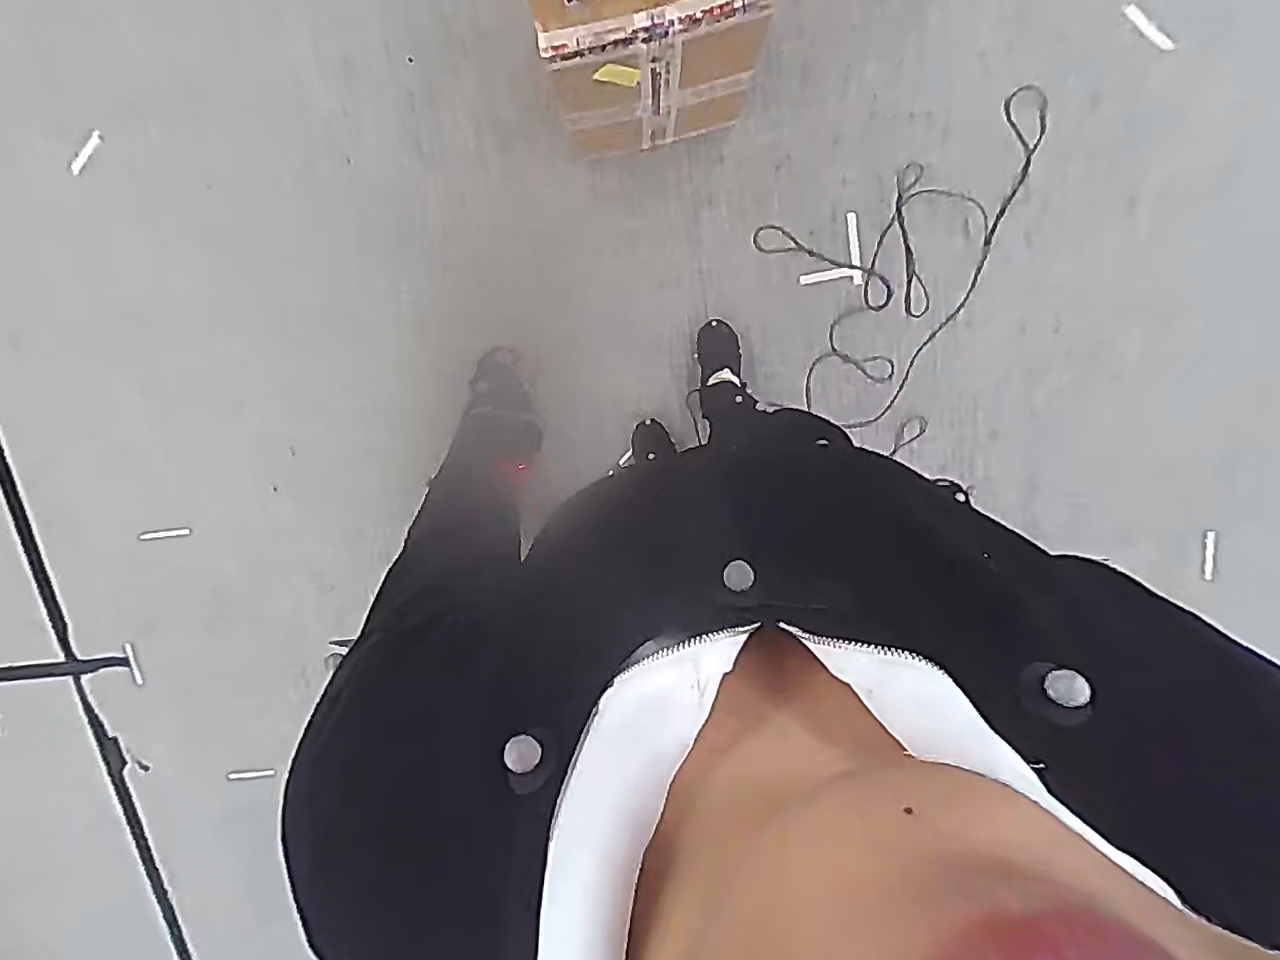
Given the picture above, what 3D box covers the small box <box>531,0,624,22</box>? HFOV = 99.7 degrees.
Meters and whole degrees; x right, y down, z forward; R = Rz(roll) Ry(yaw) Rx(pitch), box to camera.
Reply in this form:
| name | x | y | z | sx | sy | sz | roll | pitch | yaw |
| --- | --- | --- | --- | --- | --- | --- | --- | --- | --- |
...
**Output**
| name | x | y | z | sx | sy | sz | roll | pitch | yaw |
| --- | --- | --- | --- | --- | --- | --- | --- | --- | --- |
| small box | -0.110 | -0.817 | 0.772 | 0.168 | 0.176 | 0.179 | -11 | 105 | 6 |
